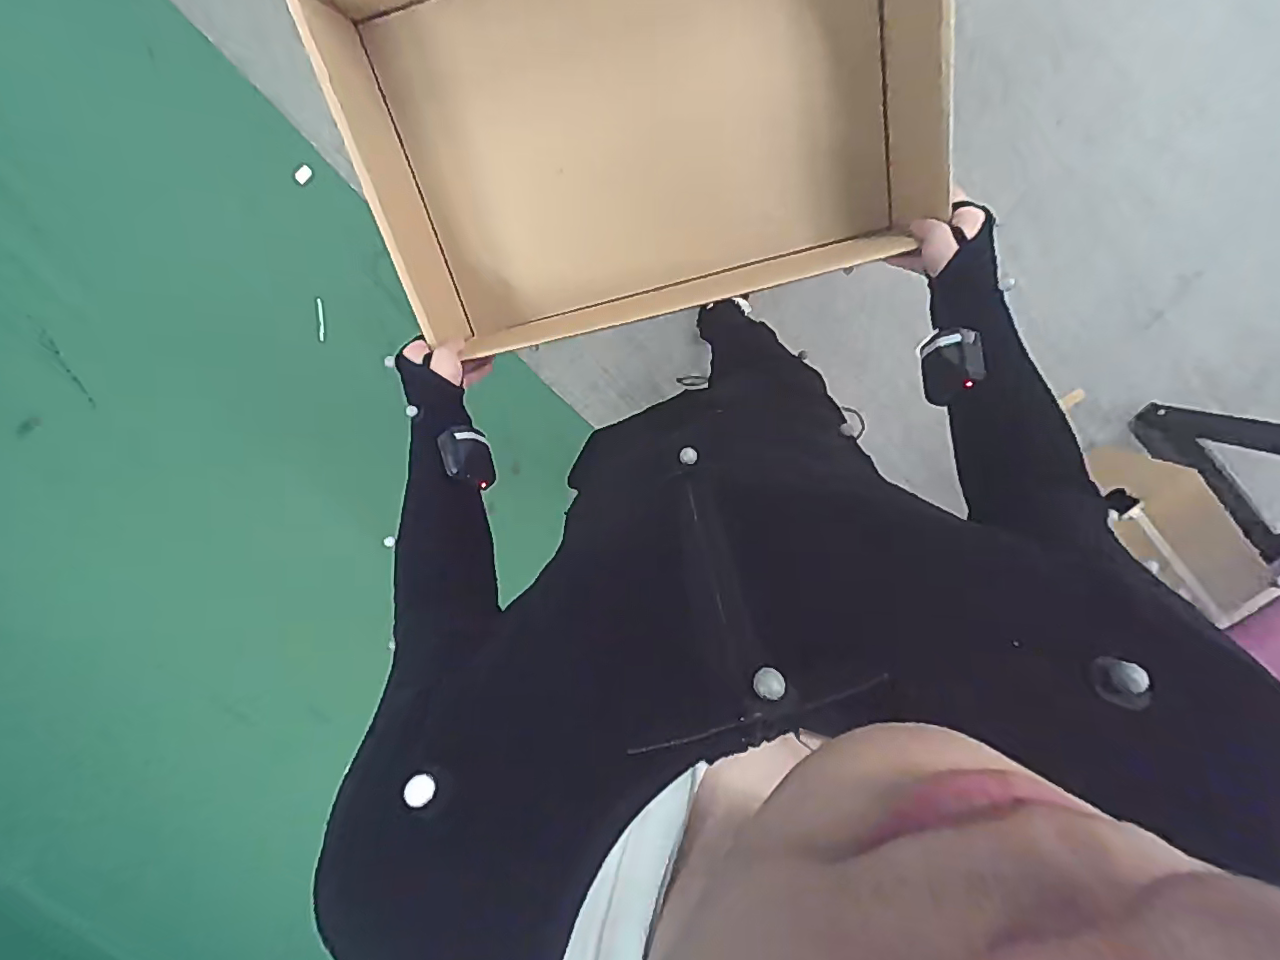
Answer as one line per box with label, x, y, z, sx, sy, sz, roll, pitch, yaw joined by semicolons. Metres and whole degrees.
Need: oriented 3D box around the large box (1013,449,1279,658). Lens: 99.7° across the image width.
large box;1.338;0.182;1.461;0.320;0.320;0.408;-43;101;14
